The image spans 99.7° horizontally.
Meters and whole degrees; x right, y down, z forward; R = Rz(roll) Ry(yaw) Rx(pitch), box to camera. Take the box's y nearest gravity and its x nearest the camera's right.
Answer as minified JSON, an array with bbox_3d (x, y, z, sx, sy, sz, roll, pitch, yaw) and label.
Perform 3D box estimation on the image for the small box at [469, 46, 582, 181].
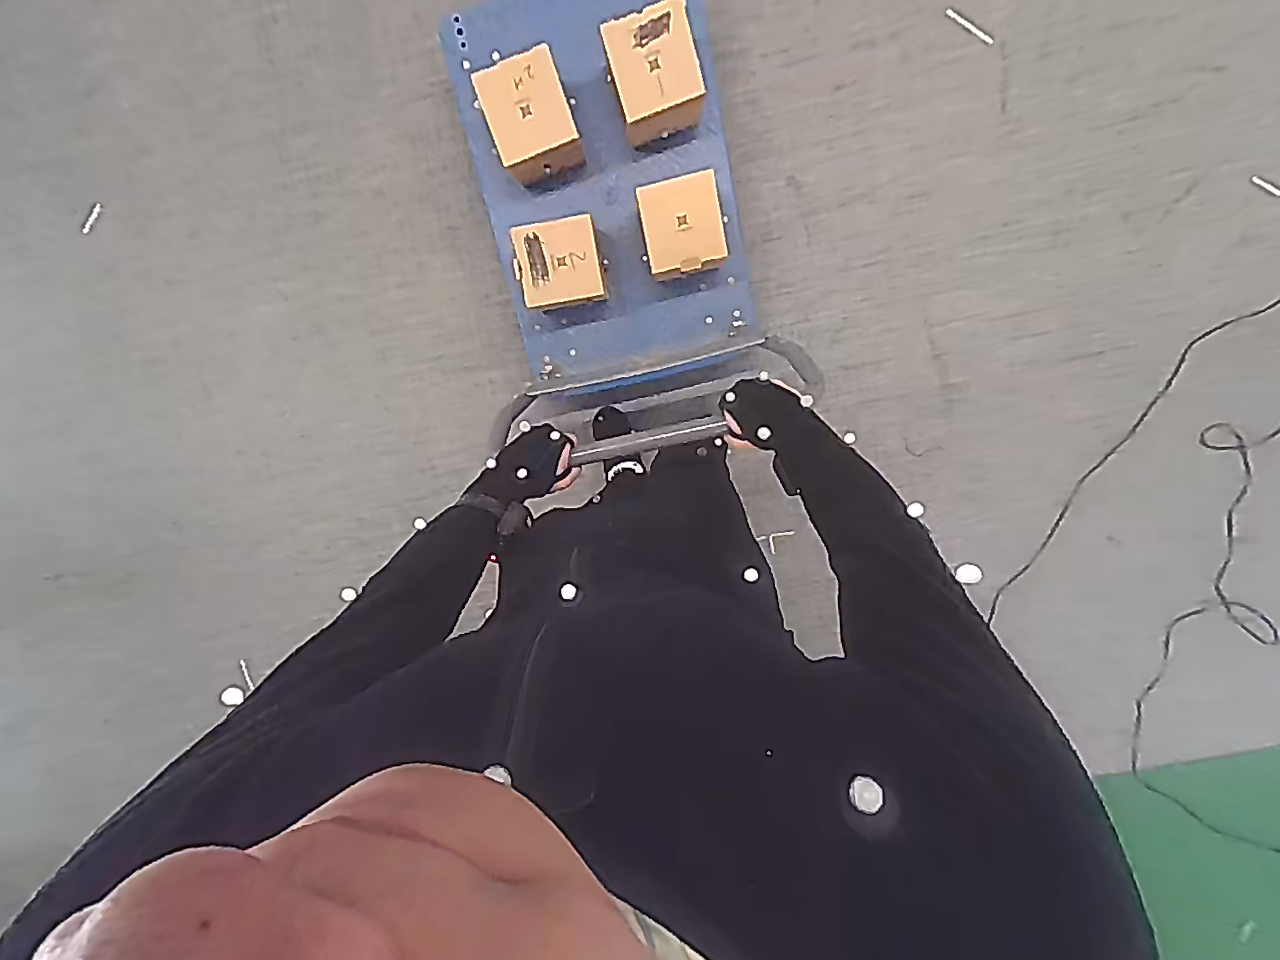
[{"bbox_3d":[-0.231,-0.759,1.148,0.168,0.176,0.179,-18,105,5],"label":"small box"}]

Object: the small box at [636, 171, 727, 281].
[{"bbox_3d":[0.087,-0.557,1.206,0.168,0.176,0.179,-12,106,4],"label":"small box"}]

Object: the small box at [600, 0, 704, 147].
[{"bbox_3d":[0.024,-0.834,1.124,0.168,0.176,0.179,-17,106,6],"label":"small box"}]
